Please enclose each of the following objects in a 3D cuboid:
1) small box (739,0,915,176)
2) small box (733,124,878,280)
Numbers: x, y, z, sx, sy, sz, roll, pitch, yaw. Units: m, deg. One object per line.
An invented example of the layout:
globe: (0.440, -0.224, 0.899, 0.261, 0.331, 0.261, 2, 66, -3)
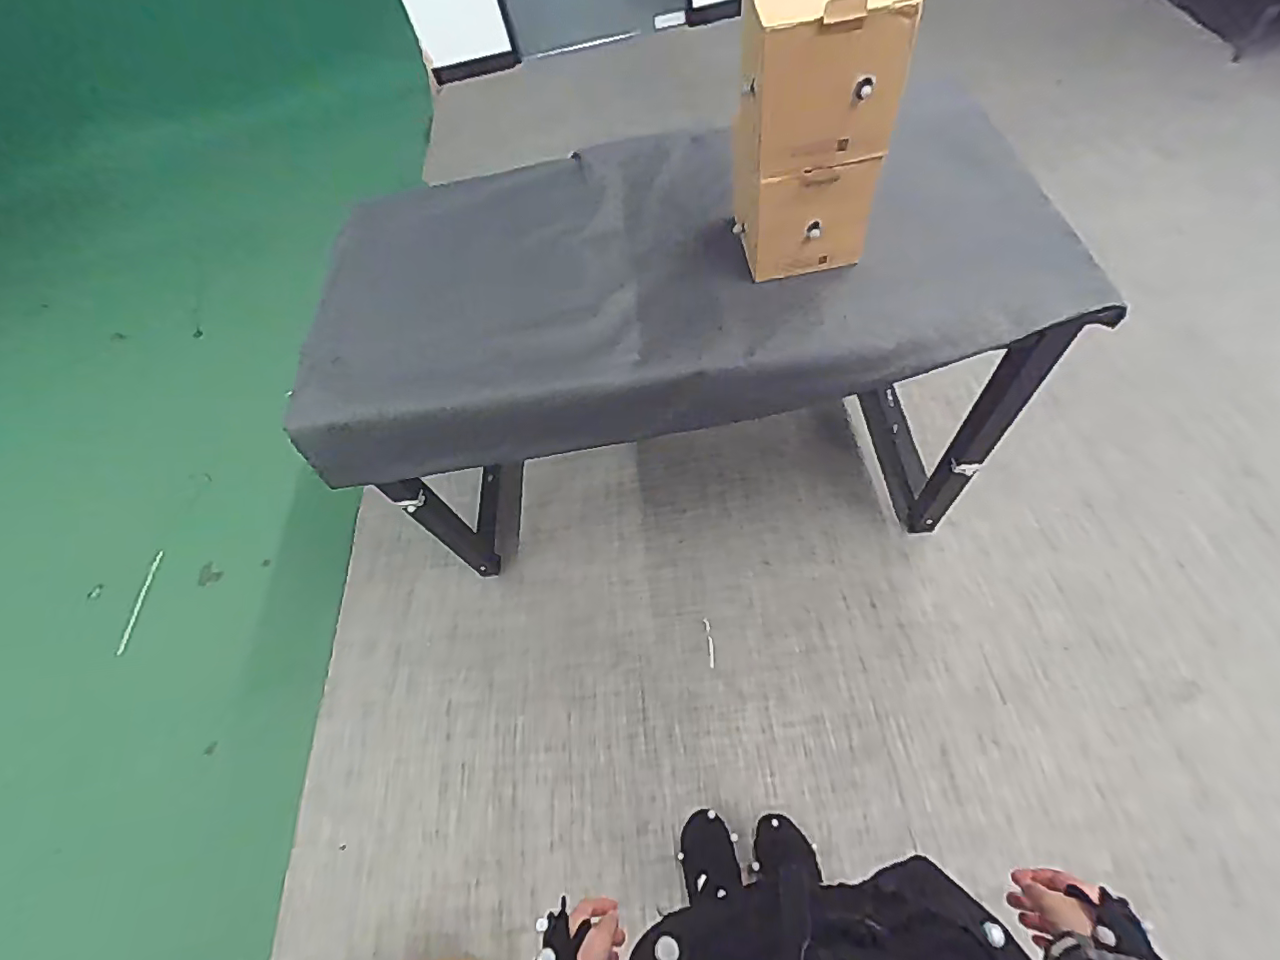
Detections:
small box: (0.218, -0.510, 0.684, 0.168, 0.176, 0.179, -6, 58, 6)
small box: (0.239, -0.428, 0.823, 0.168, 0.176, 0.179, -9, 59, 5)
